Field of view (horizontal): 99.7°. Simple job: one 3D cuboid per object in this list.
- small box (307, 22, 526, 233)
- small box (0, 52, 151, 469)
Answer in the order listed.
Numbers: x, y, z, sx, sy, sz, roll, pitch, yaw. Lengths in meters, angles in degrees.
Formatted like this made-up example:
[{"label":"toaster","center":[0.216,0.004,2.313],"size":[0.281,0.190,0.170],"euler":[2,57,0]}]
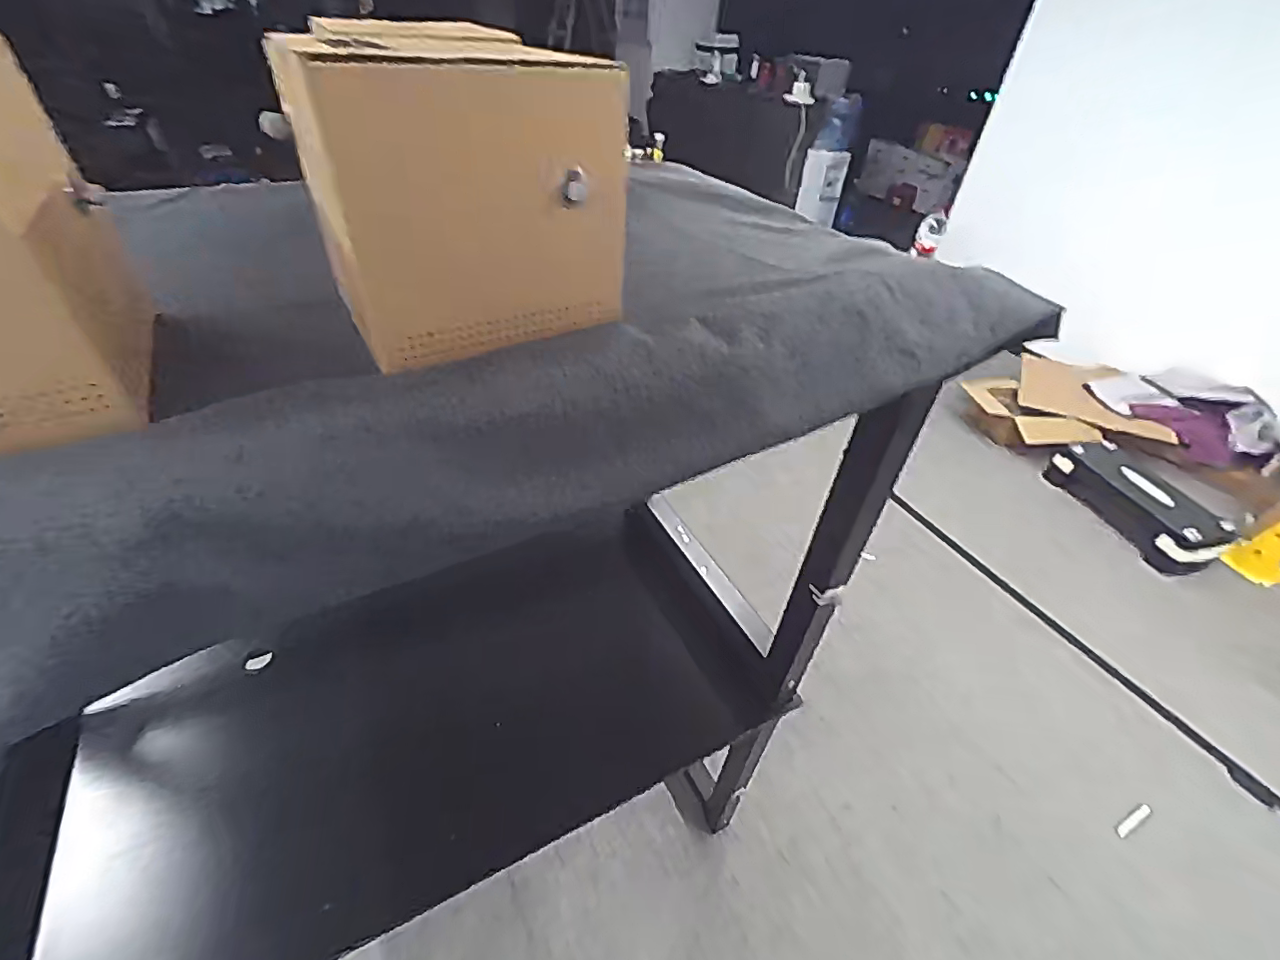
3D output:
[{"label":"small box","center":[-0.231,-0.376,0.582],"size":[0.168,0.176,0.179],"euler":[-18,46,-23]},{"label":"small box","center":[-0.381,-0.107,0.261],"size":[0.168,0.176,0.179],"euler":[-21,46,-25]}]
